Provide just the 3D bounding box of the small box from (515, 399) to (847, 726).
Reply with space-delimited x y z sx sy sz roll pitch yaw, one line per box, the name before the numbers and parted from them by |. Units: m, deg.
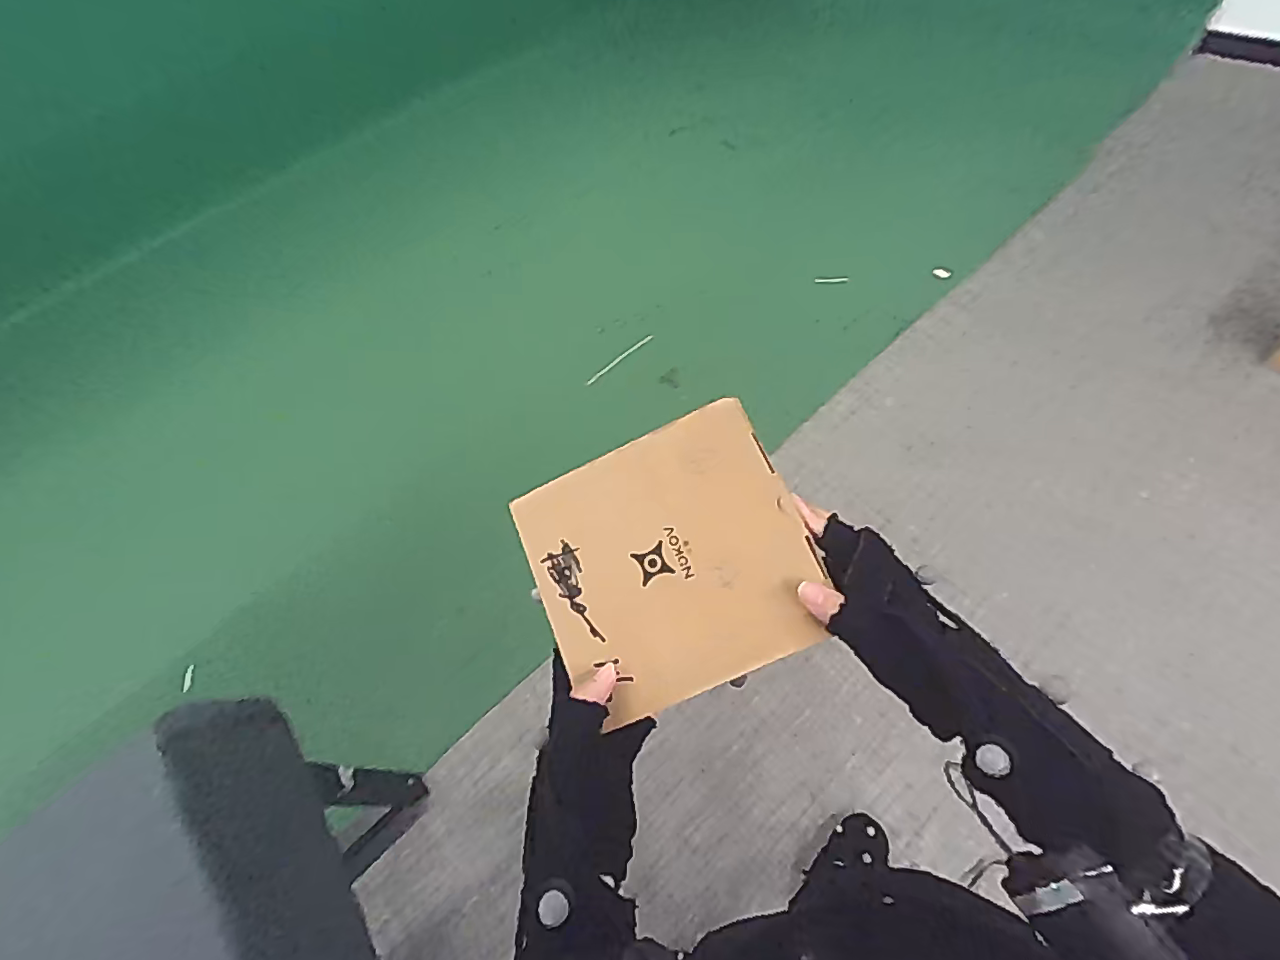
small box | 0.034 0.066 0.425 0.179 0.176 0.168 -24 72 7
